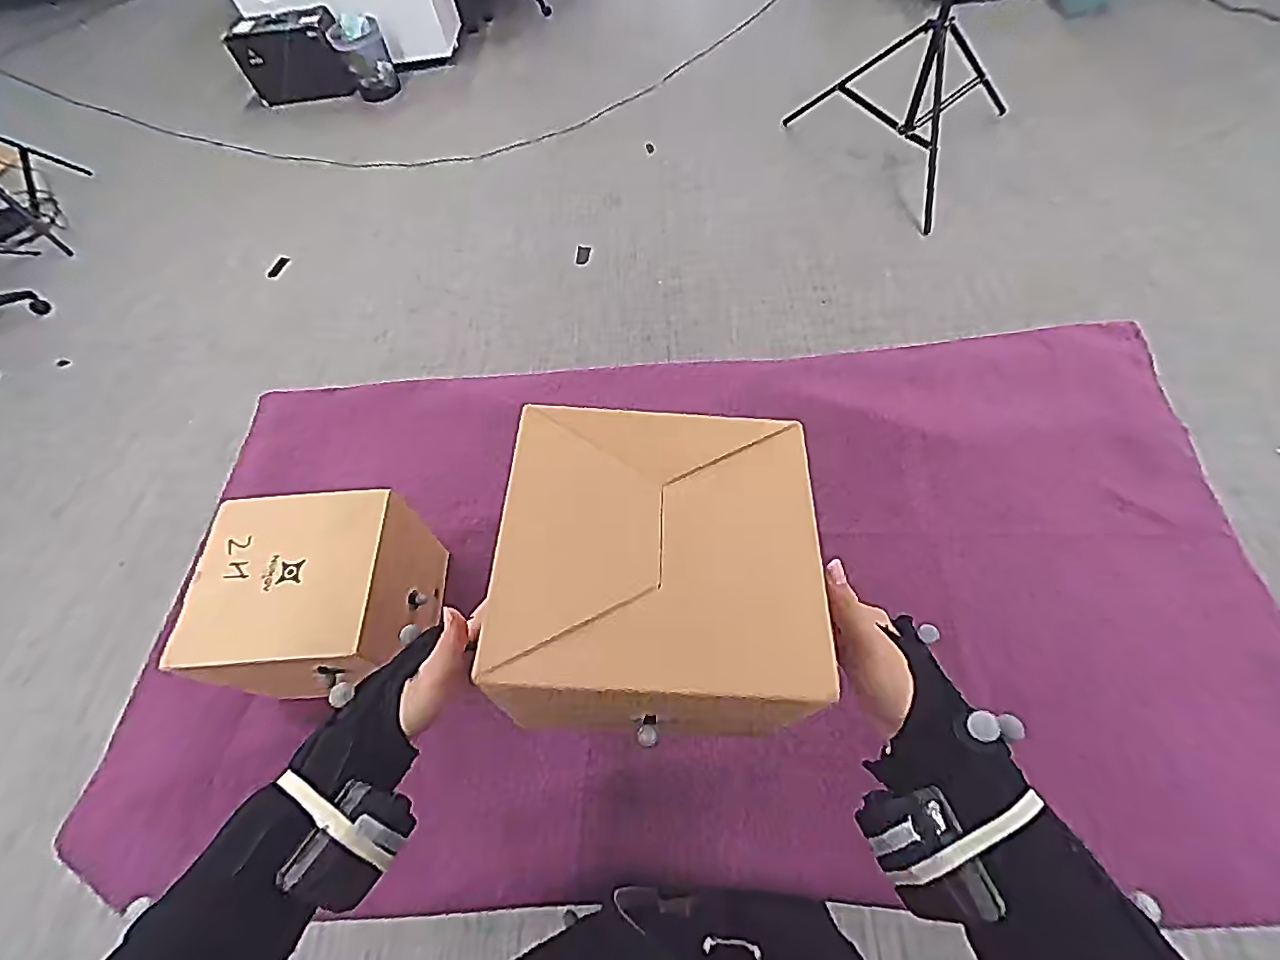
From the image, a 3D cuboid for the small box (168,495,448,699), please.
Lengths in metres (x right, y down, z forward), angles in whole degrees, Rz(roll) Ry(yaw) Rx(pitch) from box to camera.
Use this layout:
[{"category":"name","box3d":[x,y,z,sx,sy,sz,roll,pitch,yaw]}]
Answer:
[{"category":"small box","box3d":[-0.322,0.130,0.574,0.179,0.176,0.168,-4,59,1]}]
